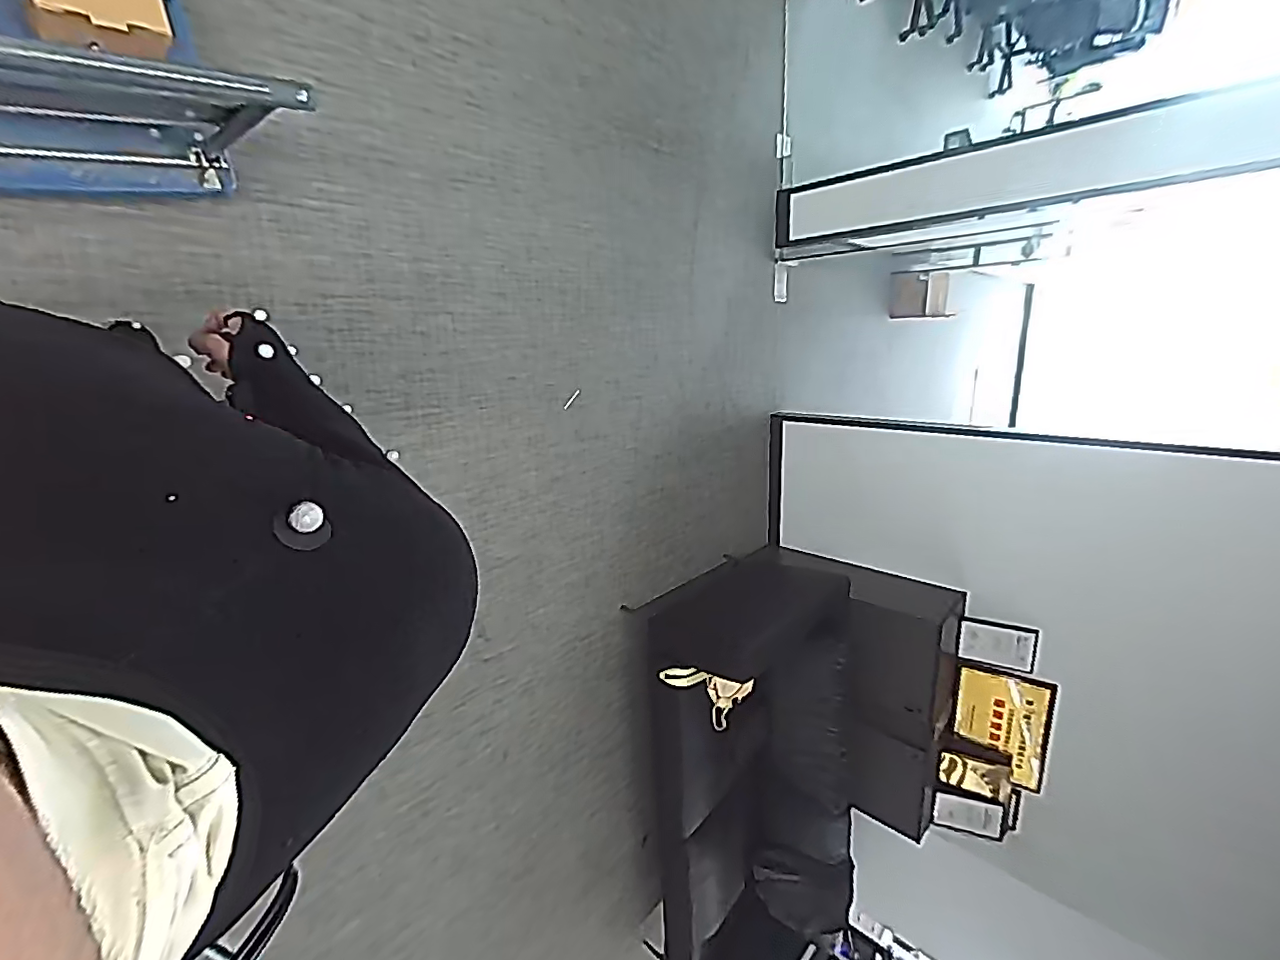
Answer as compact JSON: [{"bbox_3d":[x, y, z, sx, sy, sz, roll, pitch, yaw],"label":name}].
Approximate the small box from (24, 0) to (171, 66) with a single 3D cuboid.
[{"bbox_3d":[-0.925,-0.839,0.901,0.168,0.176,0.179,-22,114,-42],"label":"small box"}]
